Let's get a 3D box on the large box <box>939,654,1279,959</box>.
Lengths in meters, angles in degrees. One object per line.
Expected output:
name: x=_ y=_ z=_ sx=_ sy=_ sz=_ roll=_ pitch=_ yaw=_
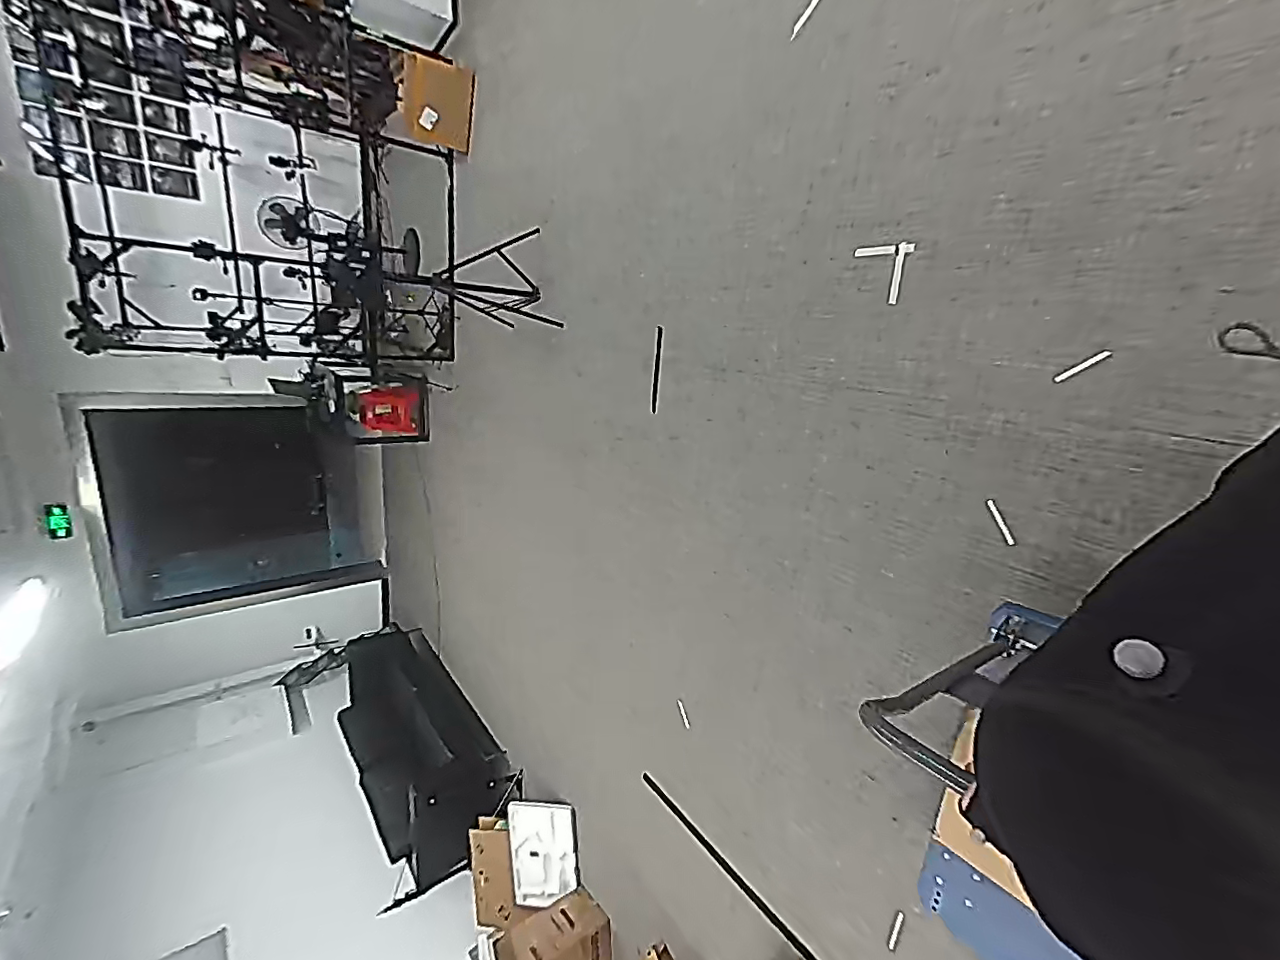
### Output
large box: x=0.846 y=0.582 z=0.980 sx=0.408 sy=0.320 sz=0.320 roll=23 pitch=112 yaw=50
